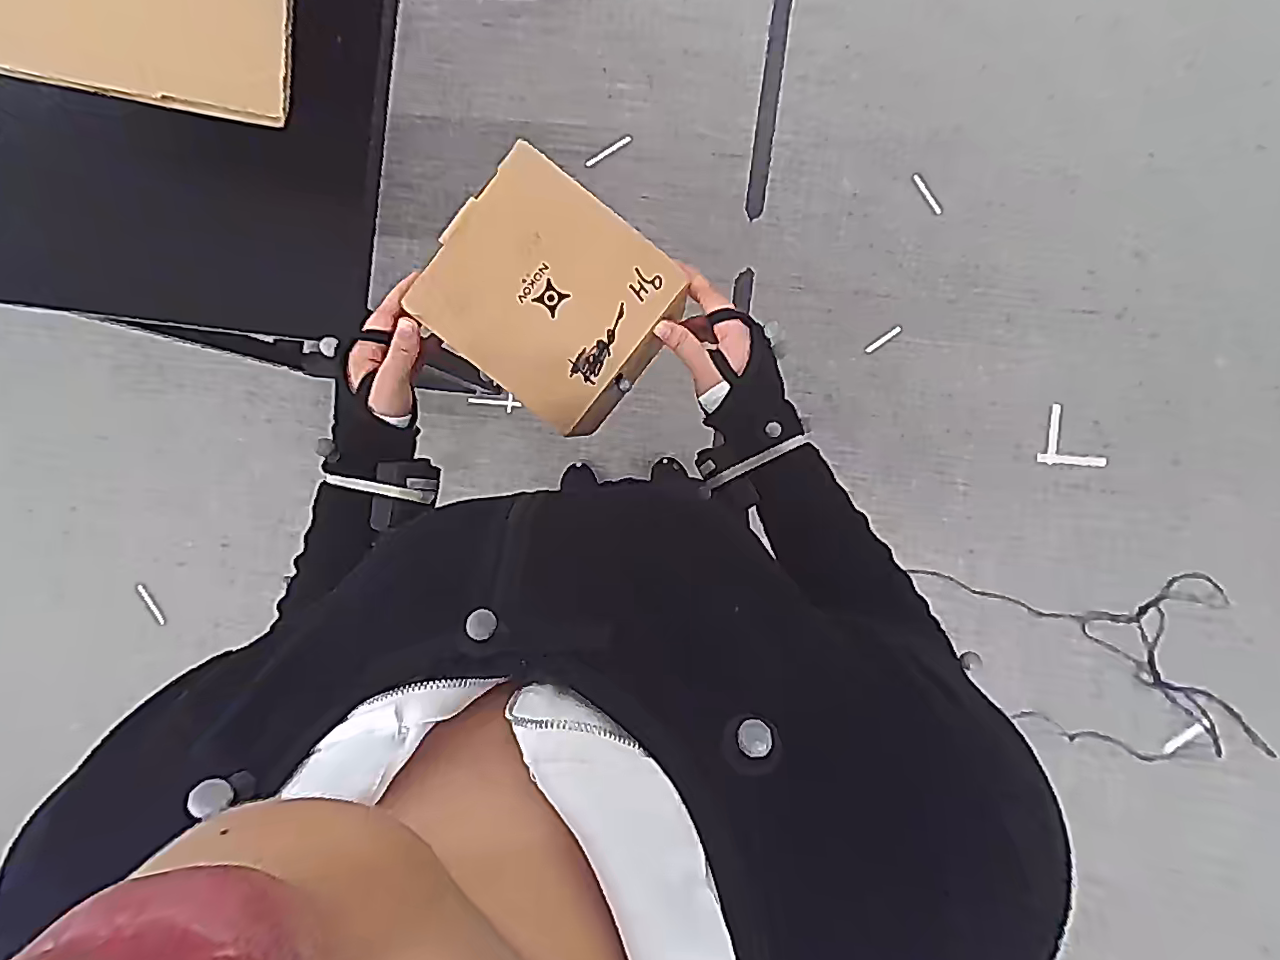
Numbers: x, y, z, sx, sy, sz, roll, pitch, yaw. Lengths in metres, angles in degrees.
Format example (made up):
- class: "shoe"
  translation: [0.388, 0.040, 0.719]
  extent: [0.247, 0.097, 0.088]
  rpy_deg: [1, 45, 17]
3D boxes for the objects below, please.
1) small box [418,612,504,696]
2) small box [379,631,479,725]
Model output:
- class: "small box"
  translation: [-0.480, 0.460, 1.453]
  extent: [0.179, 0.176, 0.168]
  rpy_deg: [3, 92, 3]
- class: "small box"
  translation: [-0.496, 0.464, 1.292]
  extent: [0.179, 0.176, 0.168]
  rpy_deg: [0, 90, 5]
